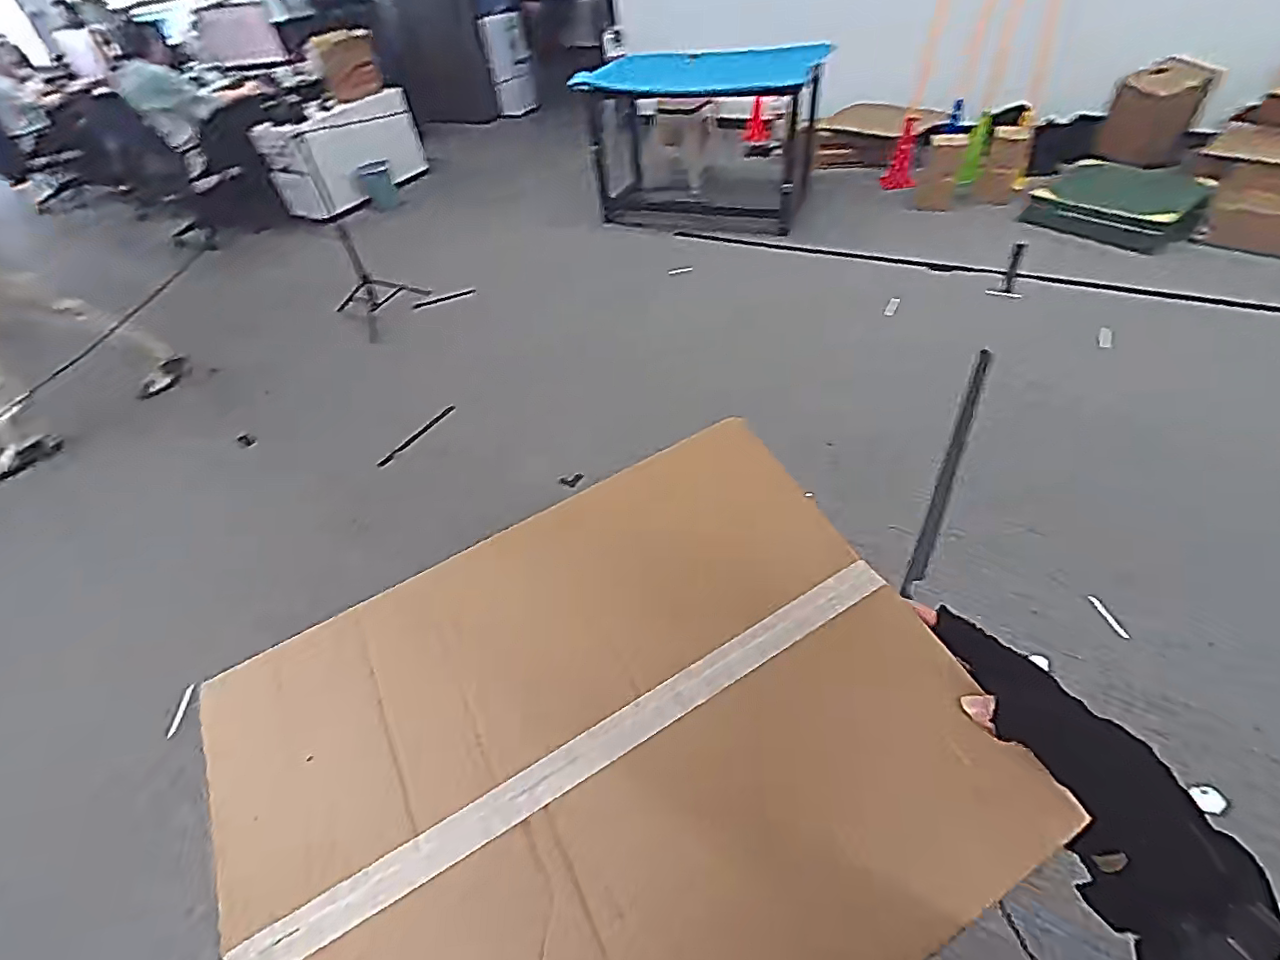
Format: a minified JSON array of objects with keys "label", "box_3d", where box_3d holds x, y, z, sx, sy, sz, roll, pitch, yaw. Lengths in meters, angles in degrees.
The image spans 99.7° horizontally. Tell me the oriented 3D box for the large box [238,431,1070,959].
[{"label":"large box","box_3d":[-0.003,0.234,0.442,0.408,0.320,0.320,-27,59,-11]}]
